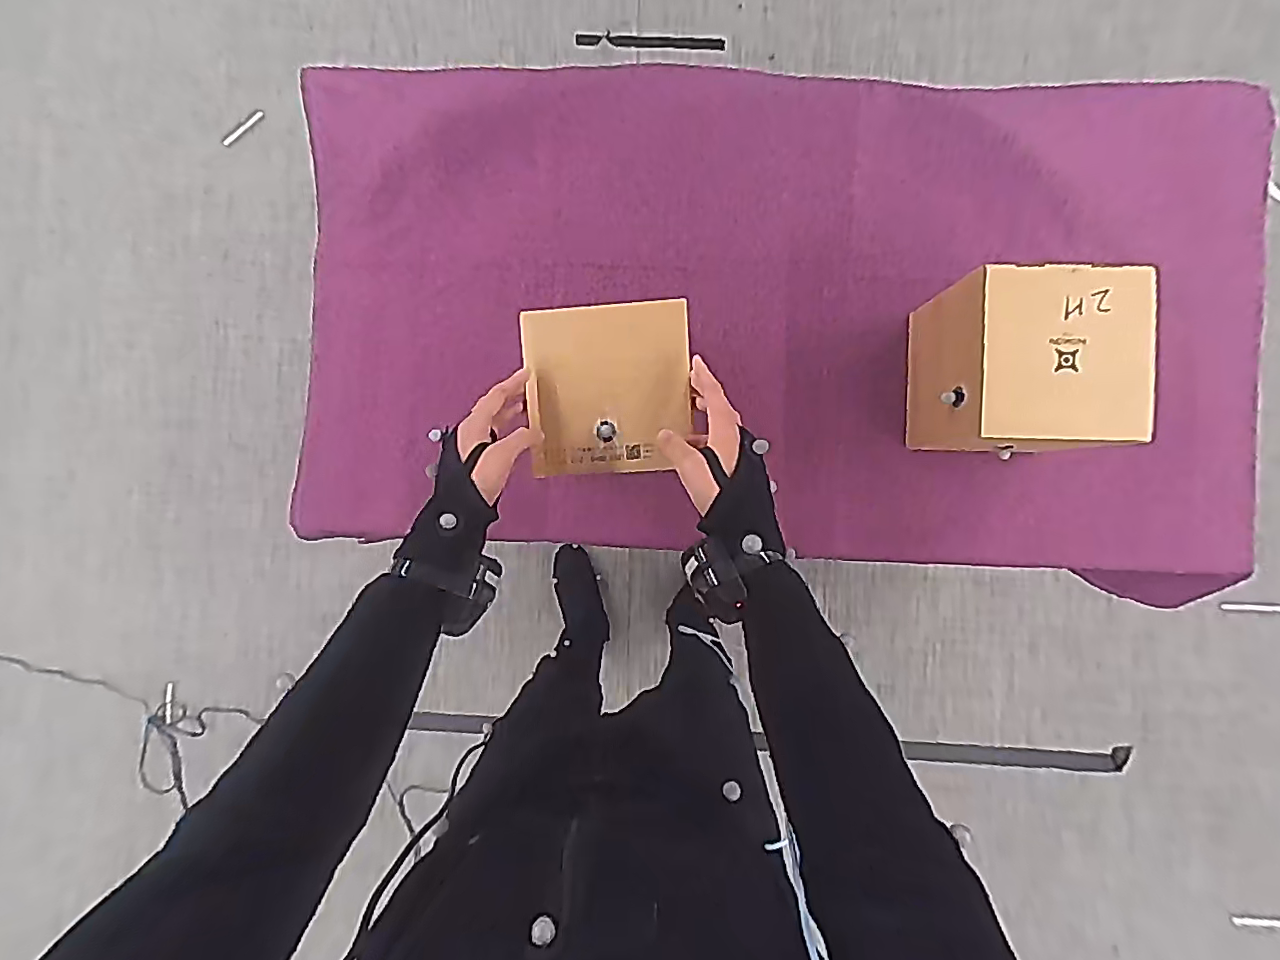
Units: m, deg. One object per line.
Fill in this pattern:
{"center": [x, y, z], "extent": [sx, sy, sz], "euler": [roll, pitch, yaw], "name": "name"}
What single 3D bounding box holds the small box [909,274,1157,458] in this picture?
{"center": [0.426, -0.116, 0.616], "extent": [0.168, 0.176, 0.179], "euler": [2, 90, 2], "name": "small box"}
